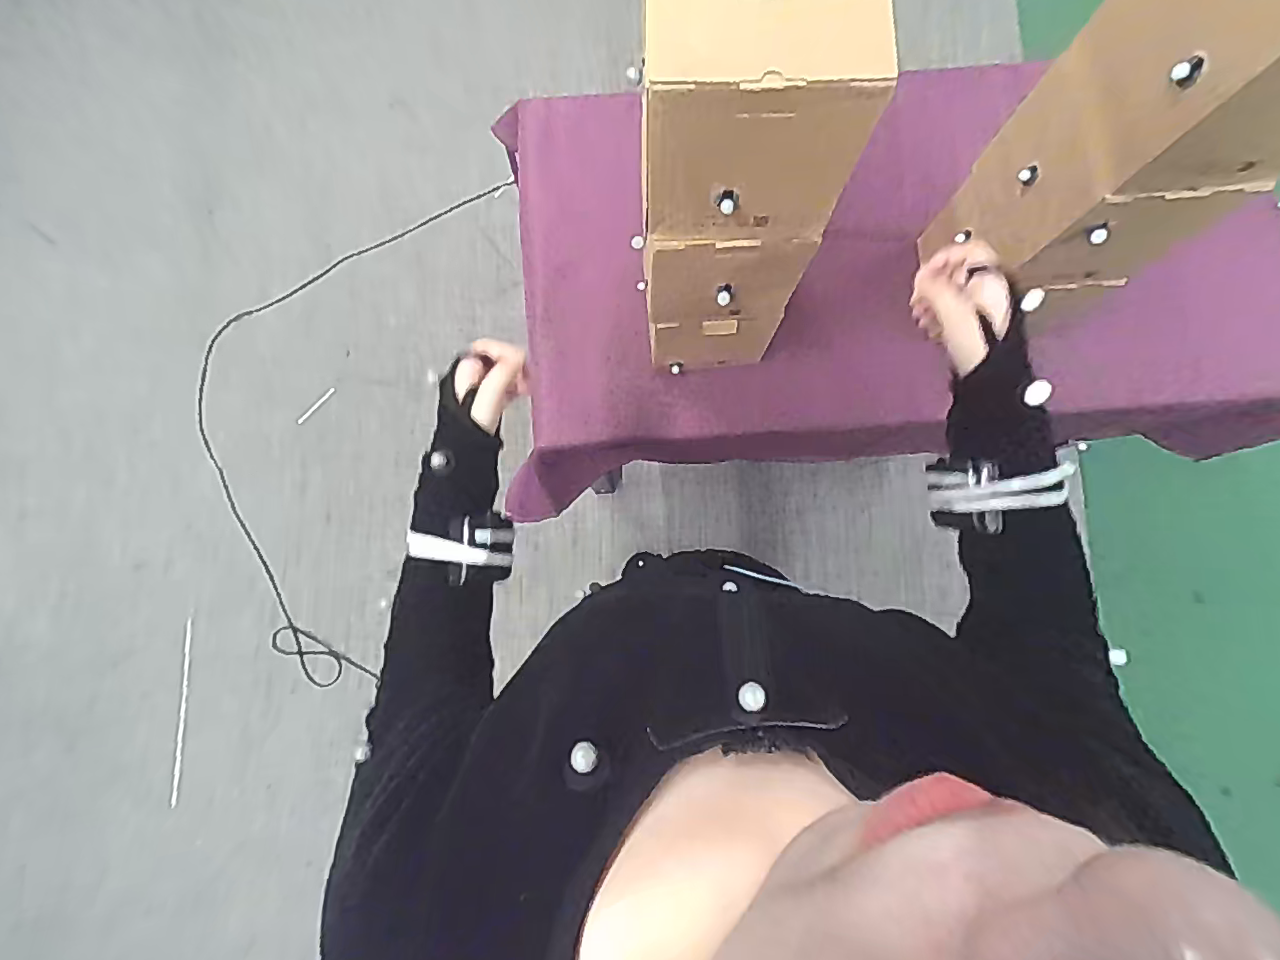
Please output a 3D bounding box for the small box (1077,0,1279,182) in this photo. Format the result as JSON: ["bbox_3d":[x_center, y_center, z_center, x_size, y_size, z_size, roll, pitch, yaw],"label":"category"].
[{"bbox_3d":[0.515,-0.373,0.445,0.168,0.176,0.179,-5,81,0],"label":"small box"}]

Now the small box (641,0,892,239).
[{"bbox_3d":[0.084,-0.328,0.447,0.168,0.176,0.179,-1,82,1],"label":"small box"}]

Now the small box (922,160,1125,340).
[{"bbox_3d":[0.524,-0.316,0.767,0.168,0.176,0.179,-2,82,1],"label":"small box"}]

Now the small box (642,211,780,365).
[{"bbox_3d":[0.092,-0.272,0.770,0.168,0.176,0.179,-5,81,0],"label":"small box"}]

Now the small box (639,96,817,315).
[{"bbox_3d":[0.087,-0.297,0.608,0.168,0.176,0.179,-3,83,0],"label":"small box"}]
